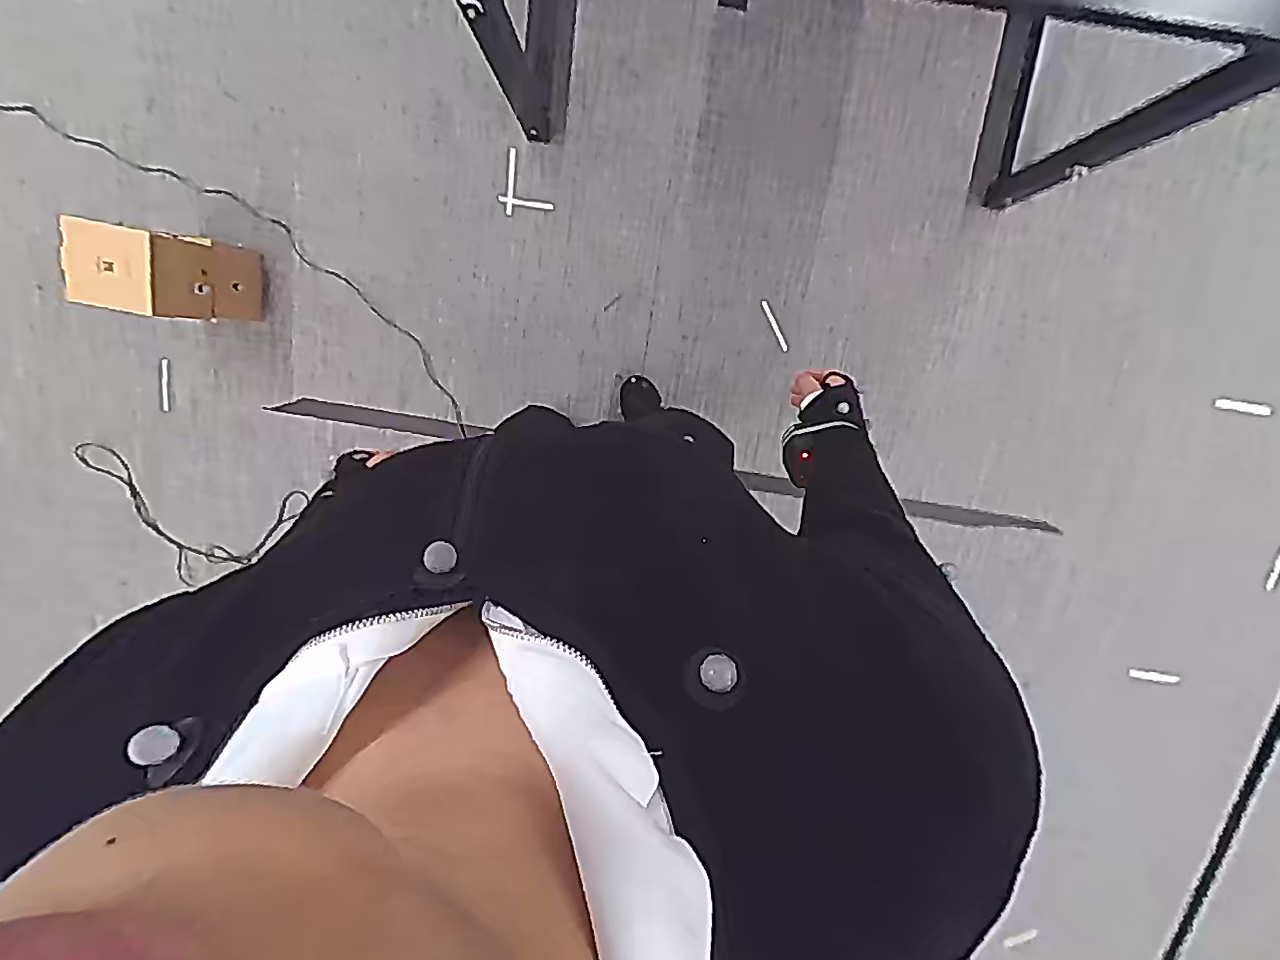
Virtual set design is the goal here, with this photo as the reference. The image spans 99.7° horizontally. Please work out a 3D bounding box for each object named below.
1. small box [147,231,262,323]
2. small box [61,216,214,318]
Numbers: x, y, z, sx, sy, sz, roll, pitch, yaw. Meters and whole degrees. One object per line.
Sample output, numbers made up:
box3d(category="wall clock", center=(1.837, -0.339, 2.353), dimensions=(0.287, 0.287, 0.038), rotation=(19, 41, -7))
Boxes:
box3d(category="small box", center=(-1.056, -0.485, 1.313), dimensions=(0.168, 0.176, 0.179), rotation=(7, 103, -2))
box3d(category="small box", center=(-1.062, -0.444, 1.156), dimensions=(0.179, 0.176, 0.168), rotation=(9, 104, -3))
